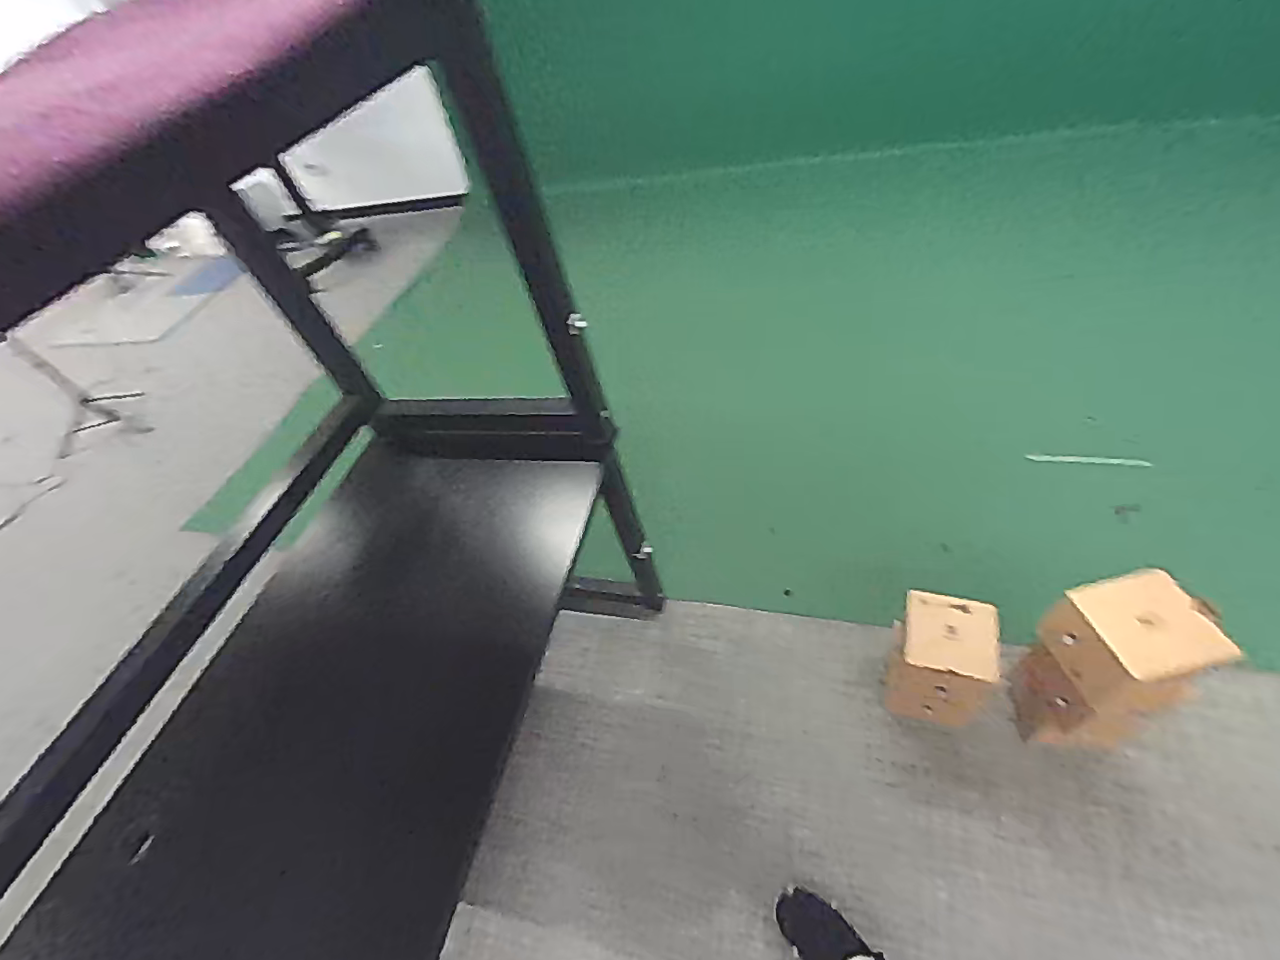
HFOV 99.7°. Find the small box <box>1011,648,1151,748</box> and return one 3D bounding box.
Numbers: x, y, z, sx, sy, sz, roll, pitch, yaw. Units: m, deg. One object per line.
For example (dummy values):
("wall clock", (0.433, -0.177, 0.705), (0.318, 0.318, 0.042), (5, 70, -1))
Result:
("small box", (0.963, 0.488, 1.208), (0.179, 0.176, 0.168), (-2, 51, 12))

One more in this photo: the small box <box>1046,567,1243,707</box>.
("small box", (0.875, 0.286, 0.968), (0.179, 0.176, 0.168), (-15, 49, 1))

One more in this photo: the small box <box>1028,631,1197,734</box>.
("small box", (0.921, 0.393, 1.083), (0.179, 0.176, 0.168), (-12, 50, 4))

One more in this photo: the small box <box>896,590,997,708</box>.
("small box", (0.658, 0.369, 1.171), (0.168, 0.176, 0.179), (8, 53, 22))
